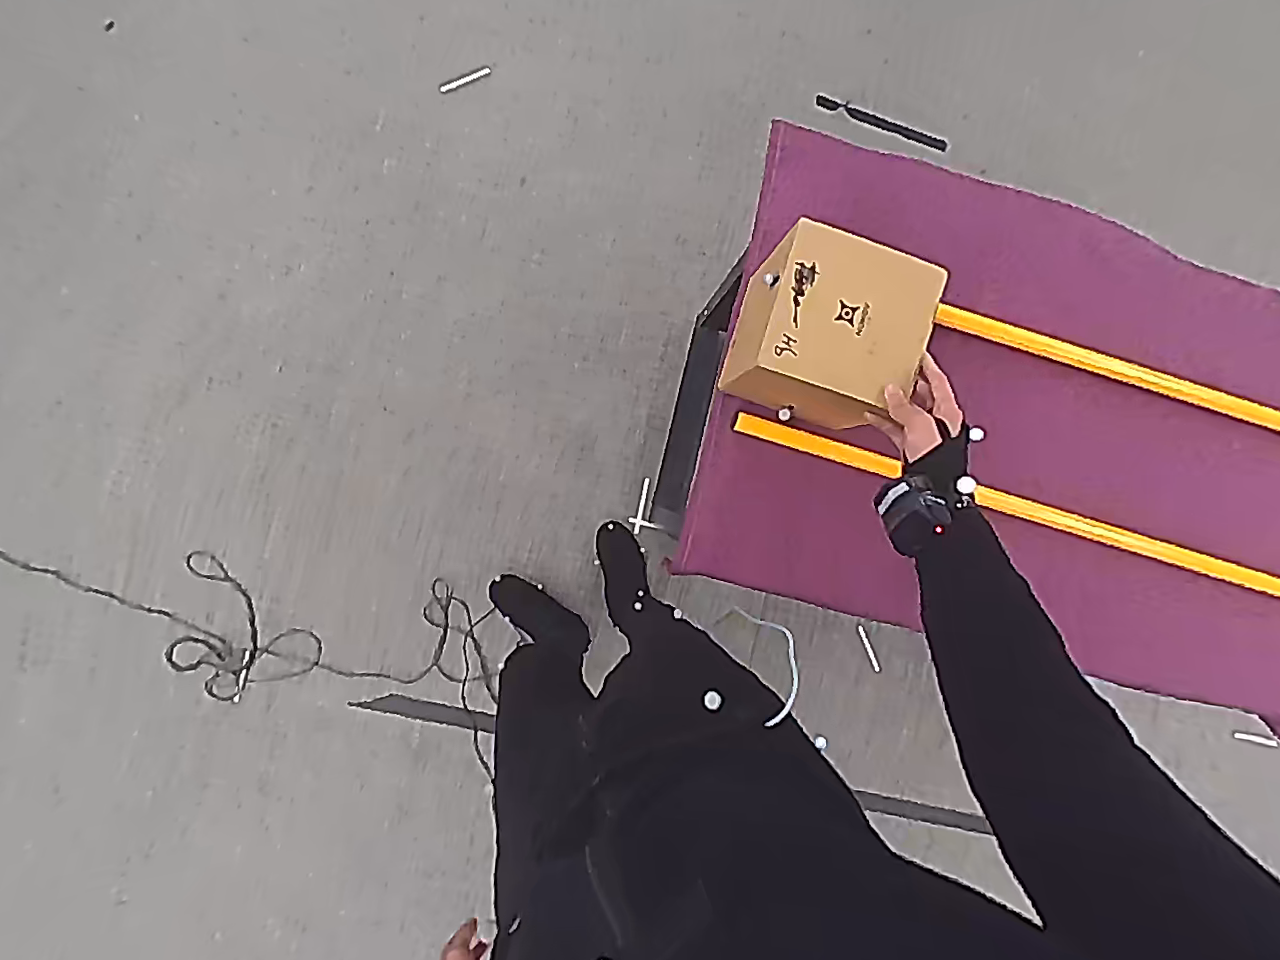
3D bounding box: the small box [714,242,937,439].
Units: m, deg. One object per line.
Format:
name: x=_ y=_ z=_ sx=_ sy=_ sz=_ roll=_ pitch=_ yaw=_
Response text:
small box: x=0.211 y=-0.152 z=0.659 sx=0.179 sy=0.176 sz=0.168 roll=18 pitch=89 yaw=-6
